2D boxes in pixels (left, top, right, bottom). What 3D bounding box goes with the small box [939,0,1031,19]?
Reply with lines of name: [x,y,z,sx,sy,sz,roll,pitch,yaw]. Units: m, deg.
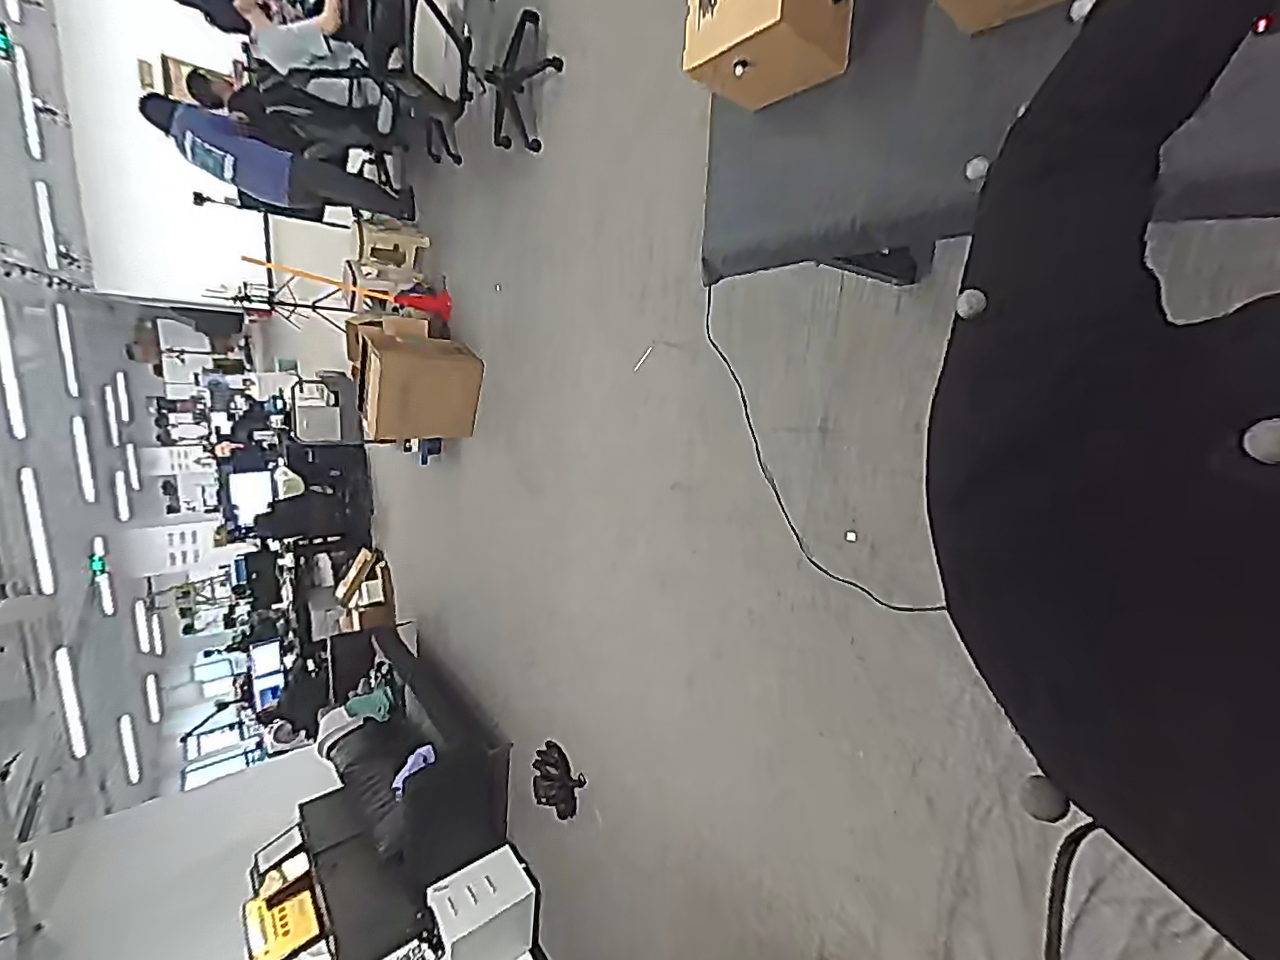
small box: [0.394,-0.608,0.538,0.168,0.176,0.179,18,110,48]

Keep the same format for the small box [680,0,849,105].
small box: [0.180,-0.681,0.780,0.179,0.176,0.168,13,106,47]
